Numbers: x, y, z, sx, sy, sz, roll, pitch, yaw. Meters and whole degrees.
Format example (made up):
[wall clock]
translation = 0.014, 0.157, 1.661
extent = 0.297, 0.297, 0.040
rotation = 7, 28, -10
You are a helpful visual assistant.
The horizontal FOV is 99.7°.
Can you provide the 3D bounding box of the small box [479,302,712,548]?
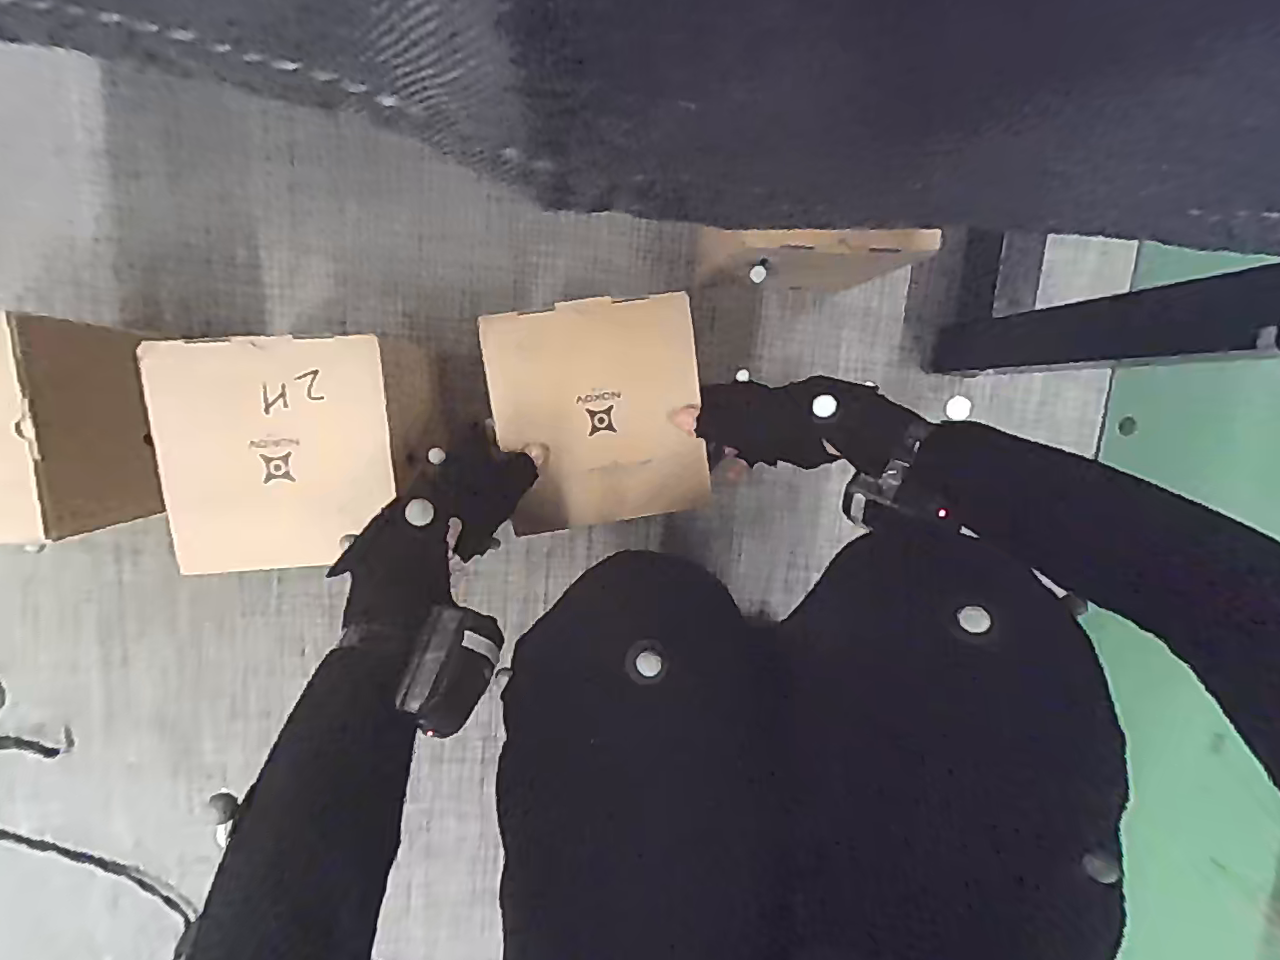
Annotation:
[small box]
translation = -0.045, -0.052, 0.501
extent = 0.168, 0.176, 0.179
rotation = -10, 99, -9
